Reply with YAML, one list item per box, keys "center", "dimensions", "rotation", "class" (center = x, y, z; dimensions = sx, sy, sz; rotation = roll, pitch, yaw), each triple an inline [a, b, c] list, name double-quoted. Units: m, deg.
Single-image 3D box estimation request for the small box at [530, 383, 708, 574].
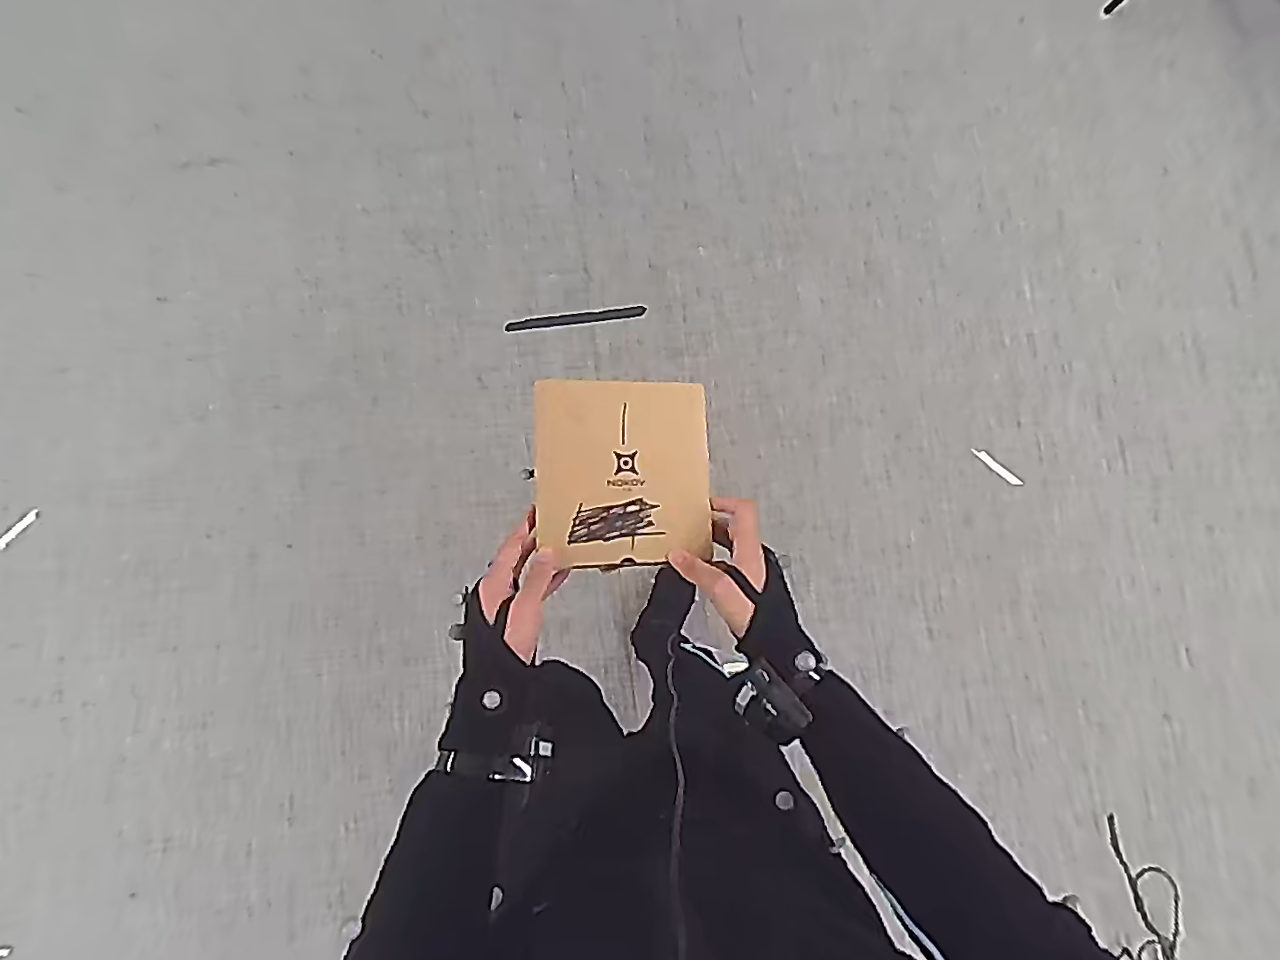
- center: [-0.032, 0.005, 0.580]
  dimensions: [0.168, 0.176, 0.179]
  rotation: [-1, 82, -12]
  class: "small box"
